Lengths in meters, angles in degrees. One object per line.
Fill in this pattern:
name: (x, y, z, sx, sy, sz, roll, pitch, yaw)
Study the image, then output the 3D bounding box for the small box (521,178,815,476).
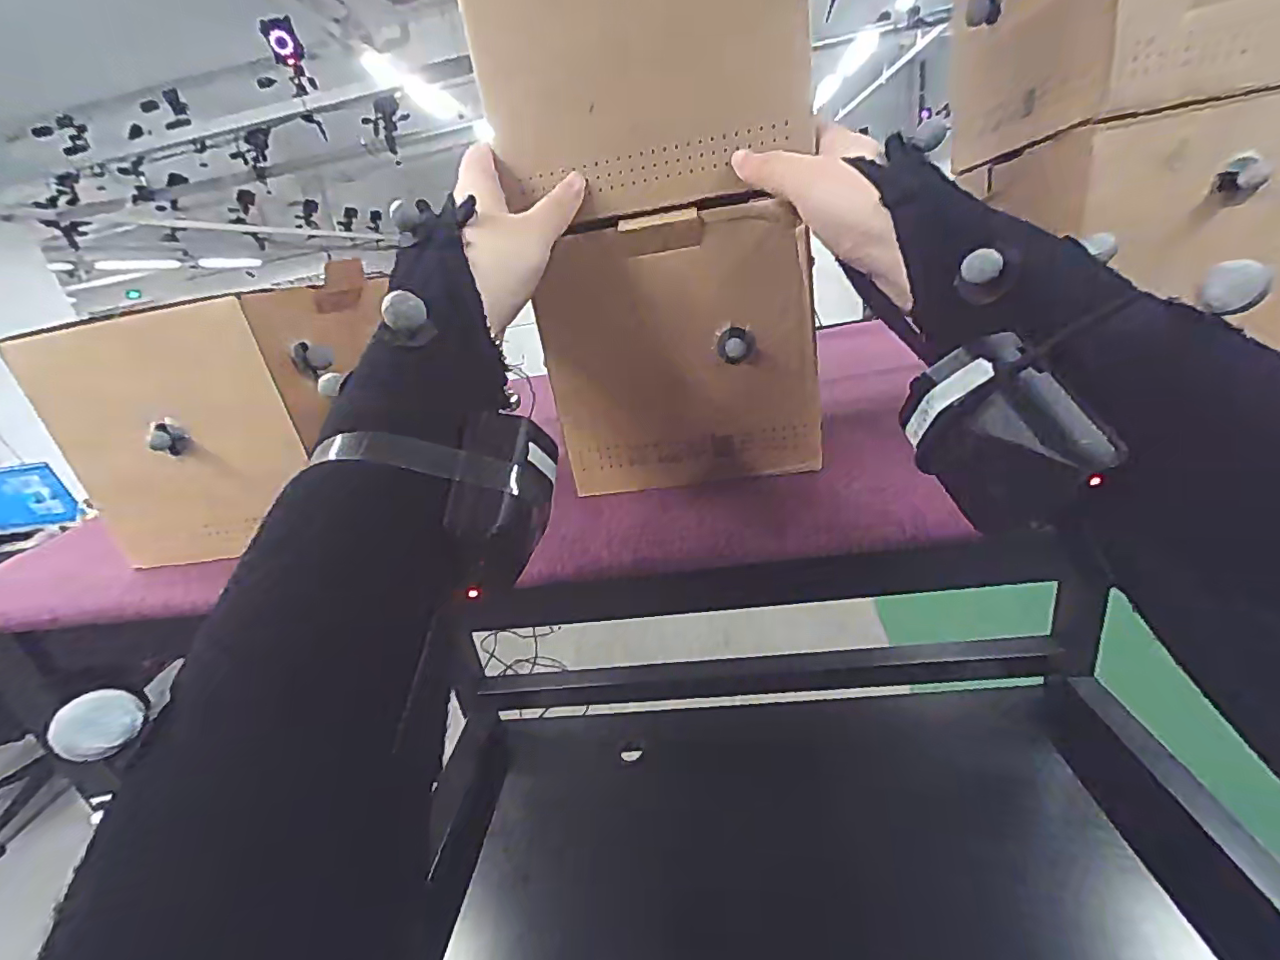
small box: (0.031, -0.107, 0.405, 0.168, 0.176, 0.179, -6, 21, 8)

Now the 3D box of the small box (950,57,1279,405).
small box: (0.337, -0.154, 0.365, 0.179, 0.176, 0.168, -8, 19, 8)

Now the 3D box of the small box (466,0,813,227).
small box: (0.003, -0.259, 0.339, 0.179, 0.176, 0.168, -6, 22, 9)

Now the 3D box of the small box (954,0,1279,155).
small box: (0.308, -0.306, 0.317, 0.179, 0.176, 0.168, -8, 19, 8)
